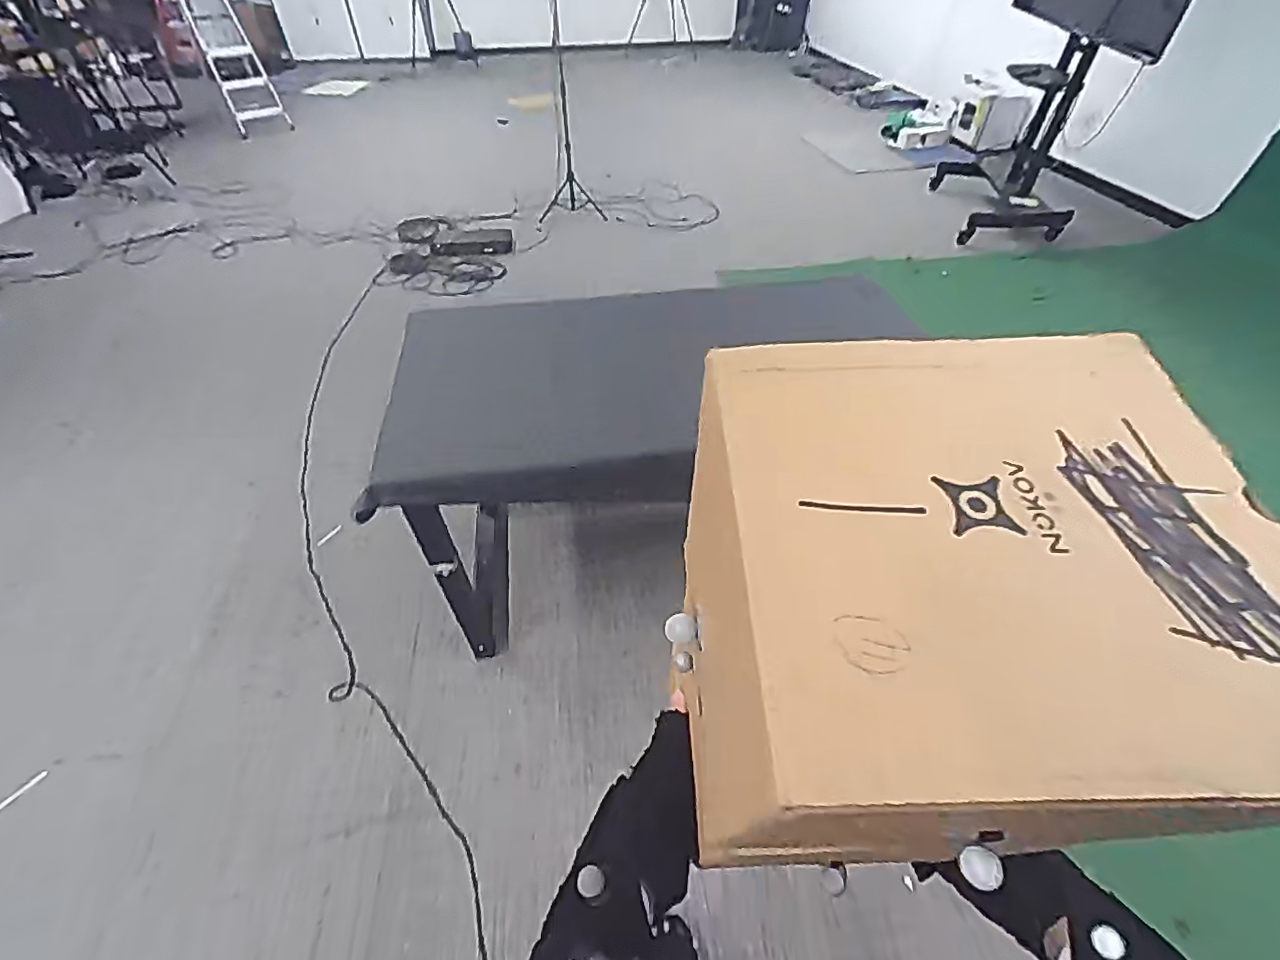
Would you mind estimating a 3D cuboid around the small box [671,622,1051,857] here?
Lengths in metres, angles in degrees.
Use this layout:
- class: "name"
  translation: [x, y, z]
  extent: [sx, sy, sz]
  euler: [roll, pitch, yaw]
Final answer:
- class: "small box"
  translation: [0.118, 0.157, 0.378]
  extent: [0.179, 0.176, 0.168]
  euler: [0, 52, -1]

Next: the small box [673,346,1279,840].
- class: "small box"
  translation: [0.115, 0.059, 0.247]
  extent: [0.179, 0.176, 0.168]
  euler: [-2, 54, -3]
